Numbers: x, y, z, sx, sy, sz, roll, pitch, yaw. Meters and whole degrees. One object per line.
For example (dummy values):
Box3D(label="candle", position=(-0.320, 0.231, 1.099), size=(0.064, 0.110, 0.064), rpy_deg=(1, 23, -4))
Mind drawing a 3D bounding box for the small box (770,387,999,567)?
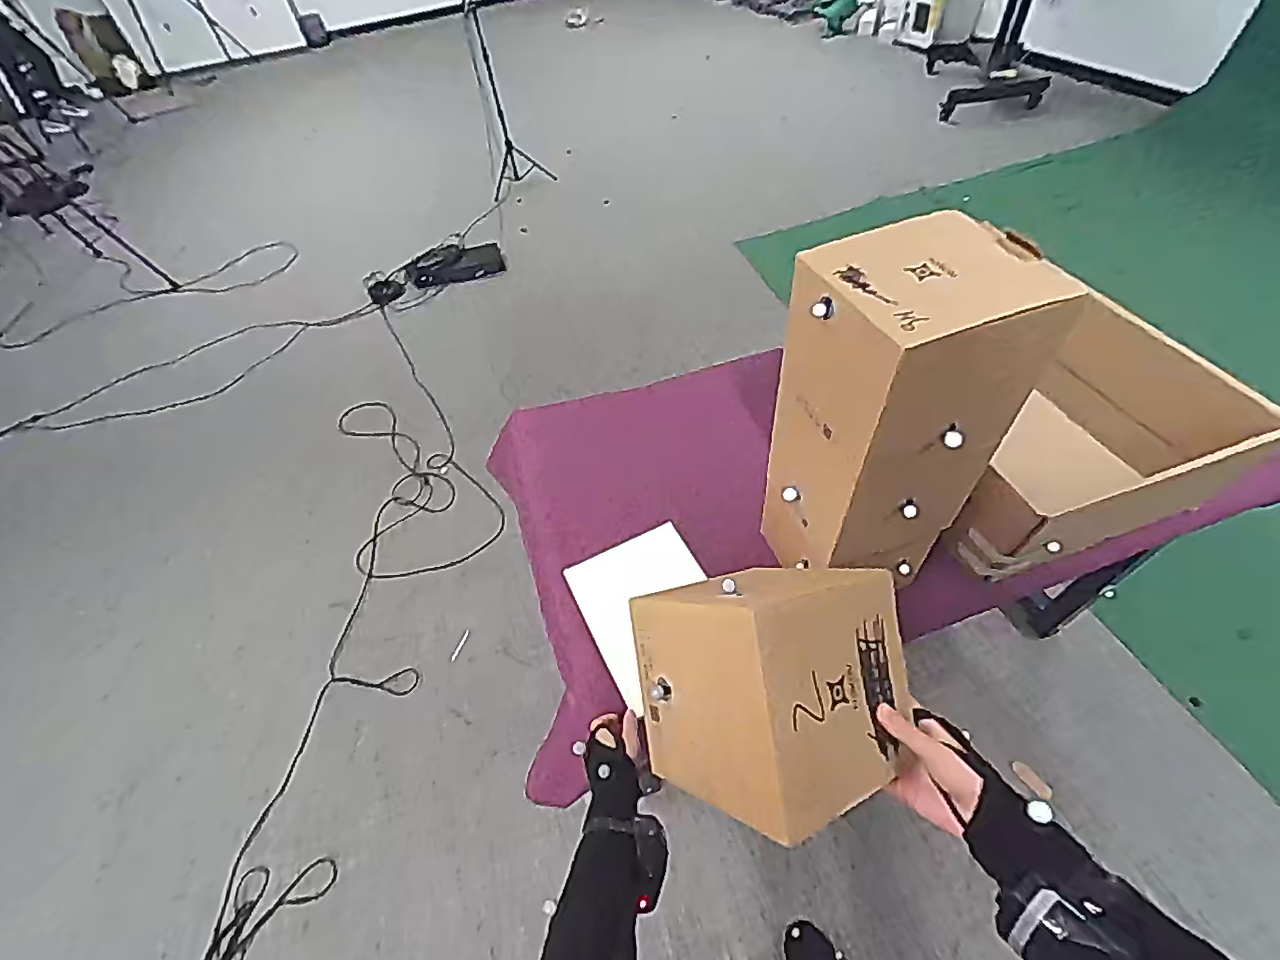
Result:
Box3D(label="small box", position=(0.276, -0.022, 0.660), size=(0.179, 0.176, 0.168), rpy_deg=(-17, 50, -7))

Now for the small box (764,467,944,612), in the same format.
Box3D(label="small box", position=(0.296, 0.073, 0.793), size=(0.168, 0.176, 0.179), rpy_deg=(-17, 50, -7))

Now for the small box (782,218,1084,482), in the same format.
Box3D(label="small box", position=(0.260, -0.126, 0.534), size=(0.179, 0.176, 0.168), rpy_deg=(-17, 49, -8))
